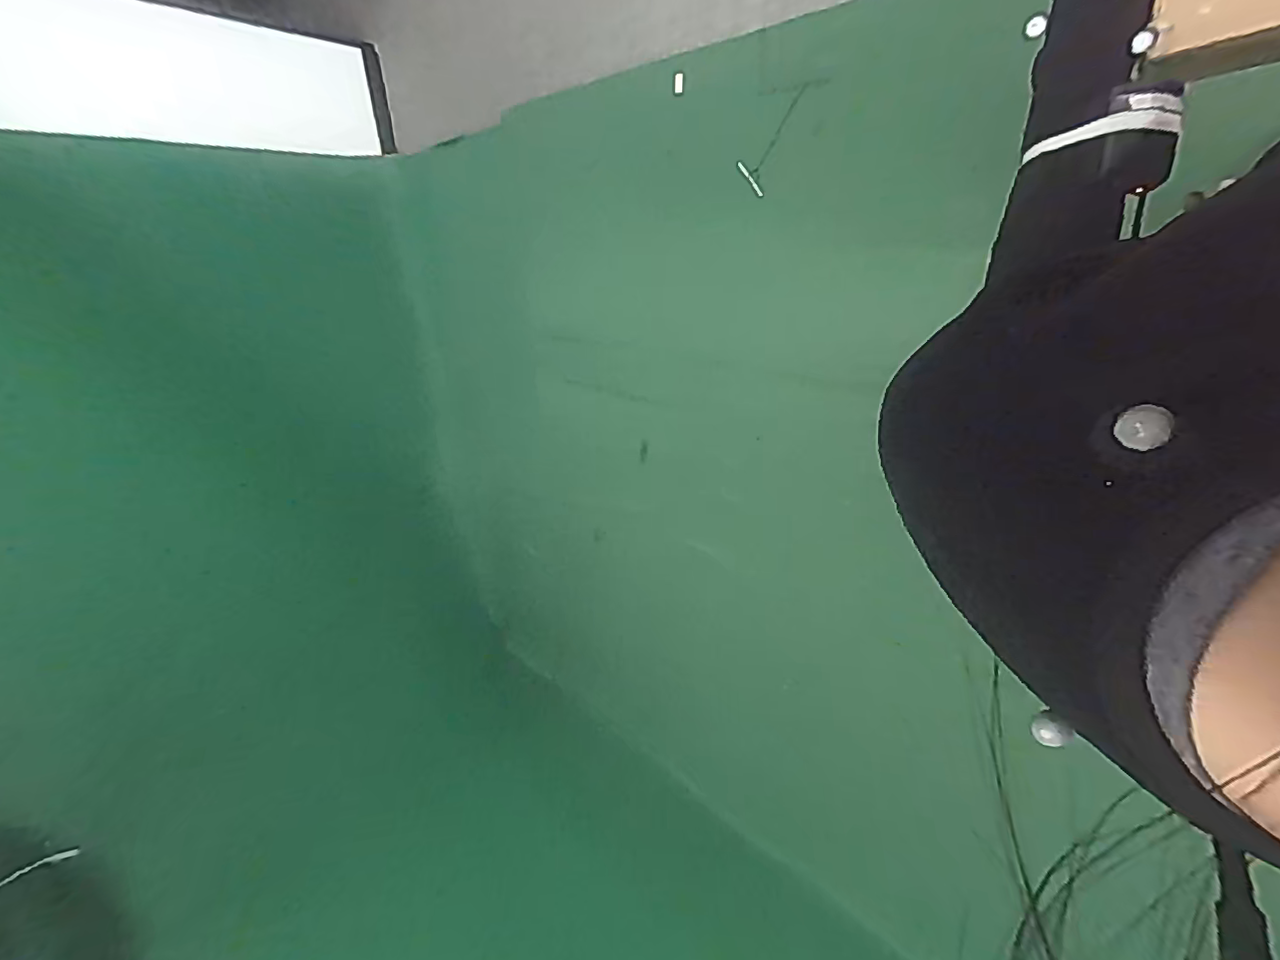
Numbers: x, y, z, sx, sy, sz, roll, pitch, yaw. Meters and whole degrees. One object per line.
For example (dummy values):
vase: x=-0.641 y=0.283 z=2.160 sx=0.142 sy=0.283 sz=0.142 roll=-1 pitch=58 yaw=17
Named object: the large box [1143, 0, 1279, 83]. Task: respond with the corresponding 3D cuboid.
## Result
large box: x=0.583 y=-0.479 z=0.305 sx=0.408 sy=0.320 sz=0.320 roll=9 pitch=120 yaw=39
